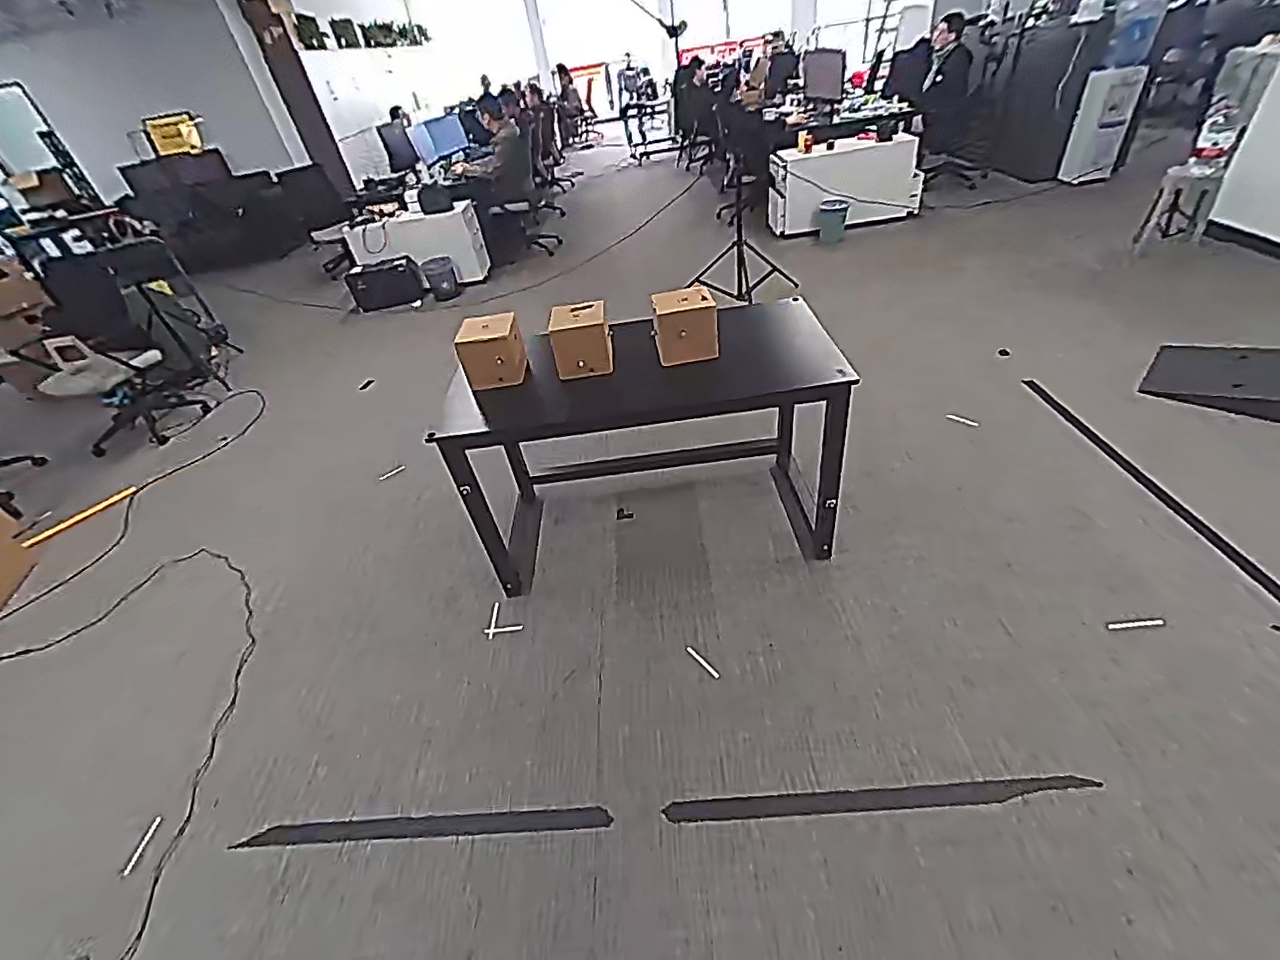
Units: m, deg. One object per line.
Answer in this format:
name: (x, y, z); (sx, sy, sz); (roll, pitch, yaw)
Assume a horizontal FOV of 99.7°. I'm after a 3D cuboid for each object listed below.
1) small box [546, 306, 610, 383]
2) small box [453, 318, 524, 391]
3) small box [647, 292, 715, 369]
small box: (-0.188, -0.424, 1.695); (0.168, 0.176, 0.179); (-8, 40, 3)
small box: (-0.473, -0.393, 1.717); (0.168, 0.176, 0.179); (-7, 38, 1)
small box: (0.127, -0.460, 1.673); (0.179, 0.176, 0.168); (-11, 39, 0)
